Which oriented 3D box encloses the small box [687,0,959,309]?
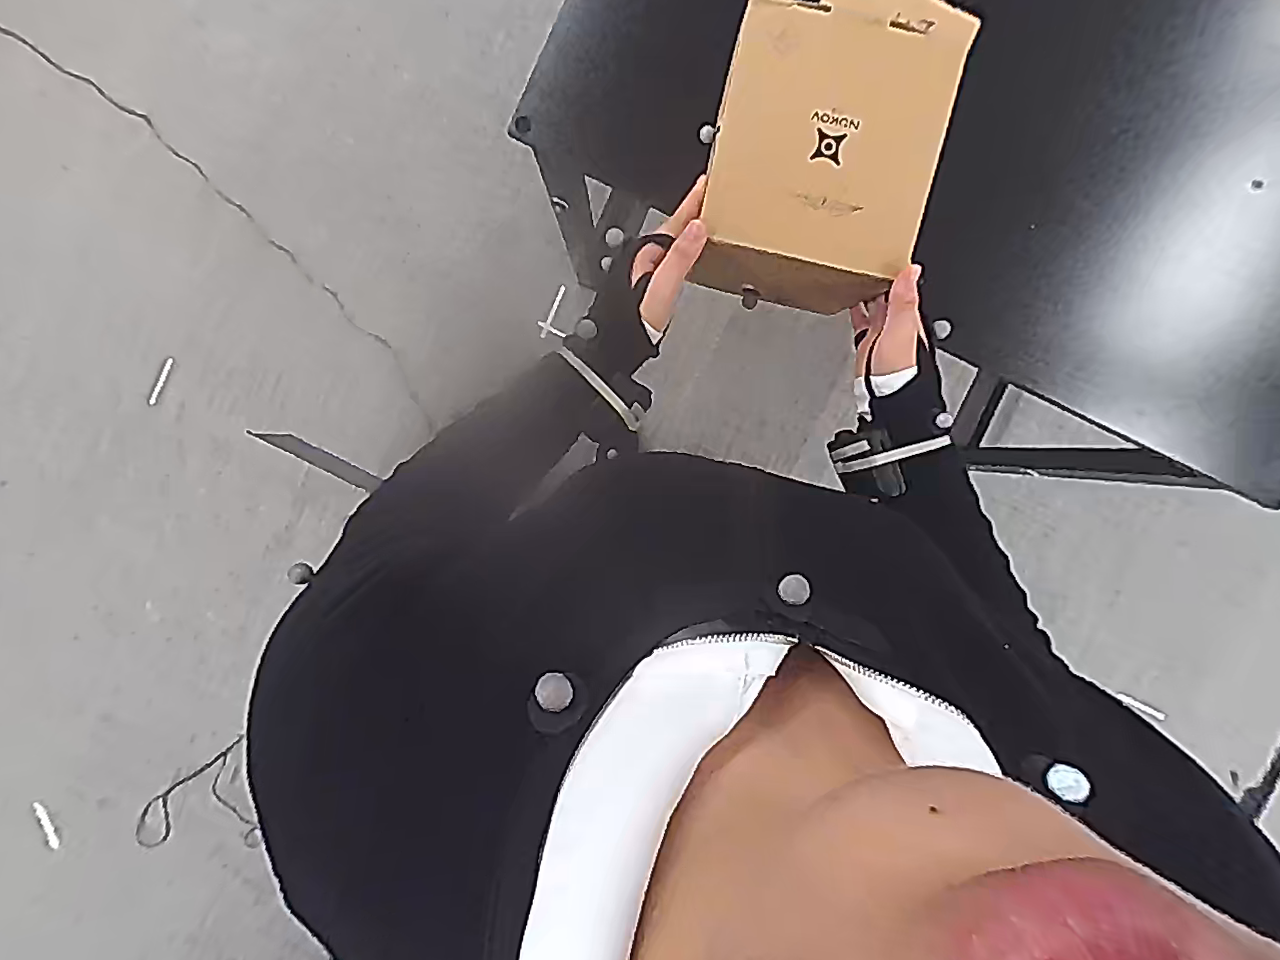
[{"bbox_3d":[0.141,-0.270,0.489,0.168,0.176,0.179,12,98,-1],"label":"small box"}]
